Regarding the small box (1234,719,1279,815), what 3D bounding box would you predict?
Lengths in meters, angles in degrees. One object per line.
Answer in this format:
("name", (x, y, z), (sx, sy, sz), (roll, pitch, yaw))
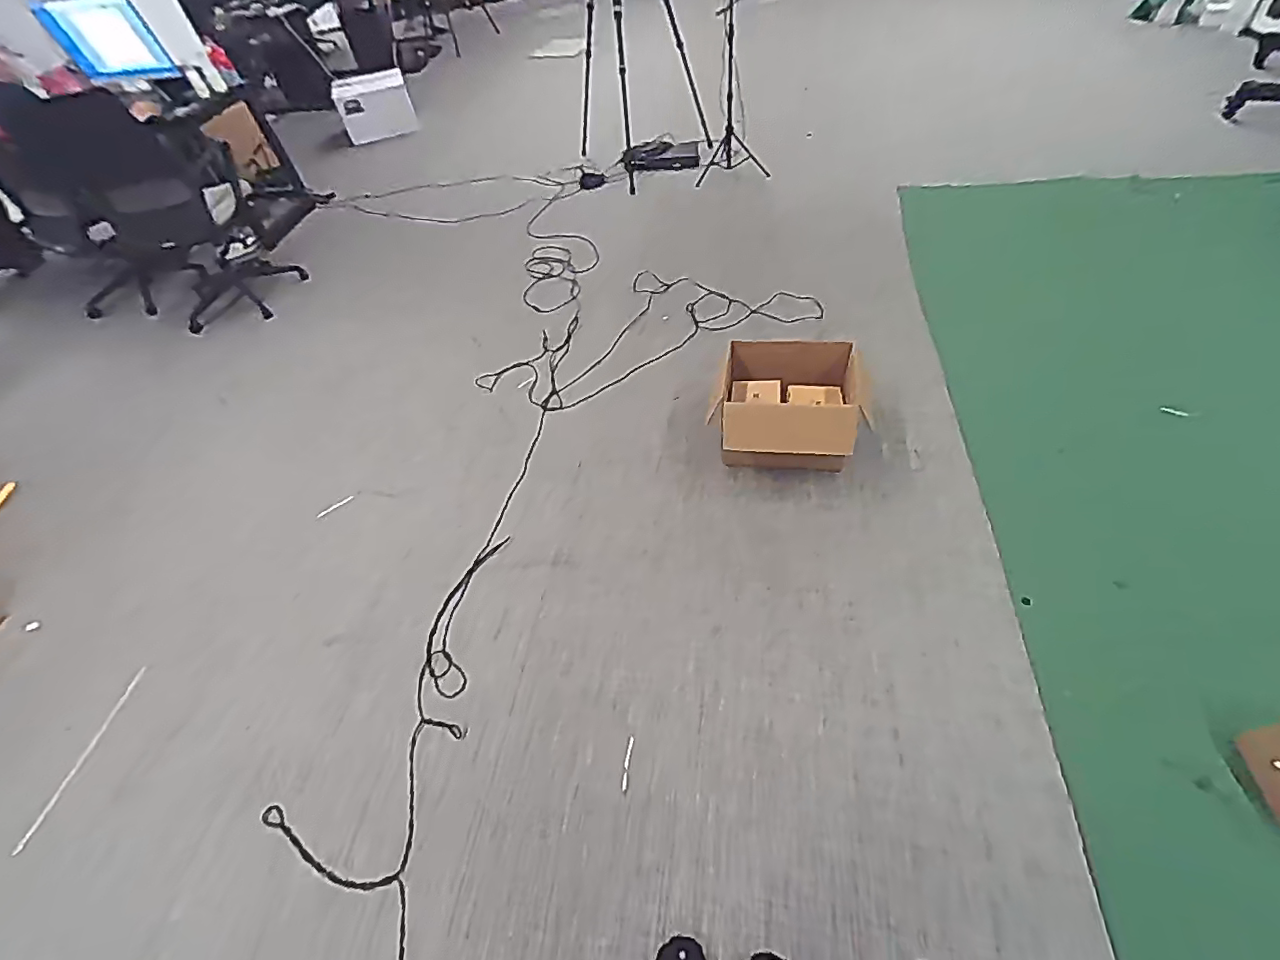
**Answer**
("small box", (1.411, 0.604, 1.107), (0.168, 0.176, 0.179), (1, 50, 8))
